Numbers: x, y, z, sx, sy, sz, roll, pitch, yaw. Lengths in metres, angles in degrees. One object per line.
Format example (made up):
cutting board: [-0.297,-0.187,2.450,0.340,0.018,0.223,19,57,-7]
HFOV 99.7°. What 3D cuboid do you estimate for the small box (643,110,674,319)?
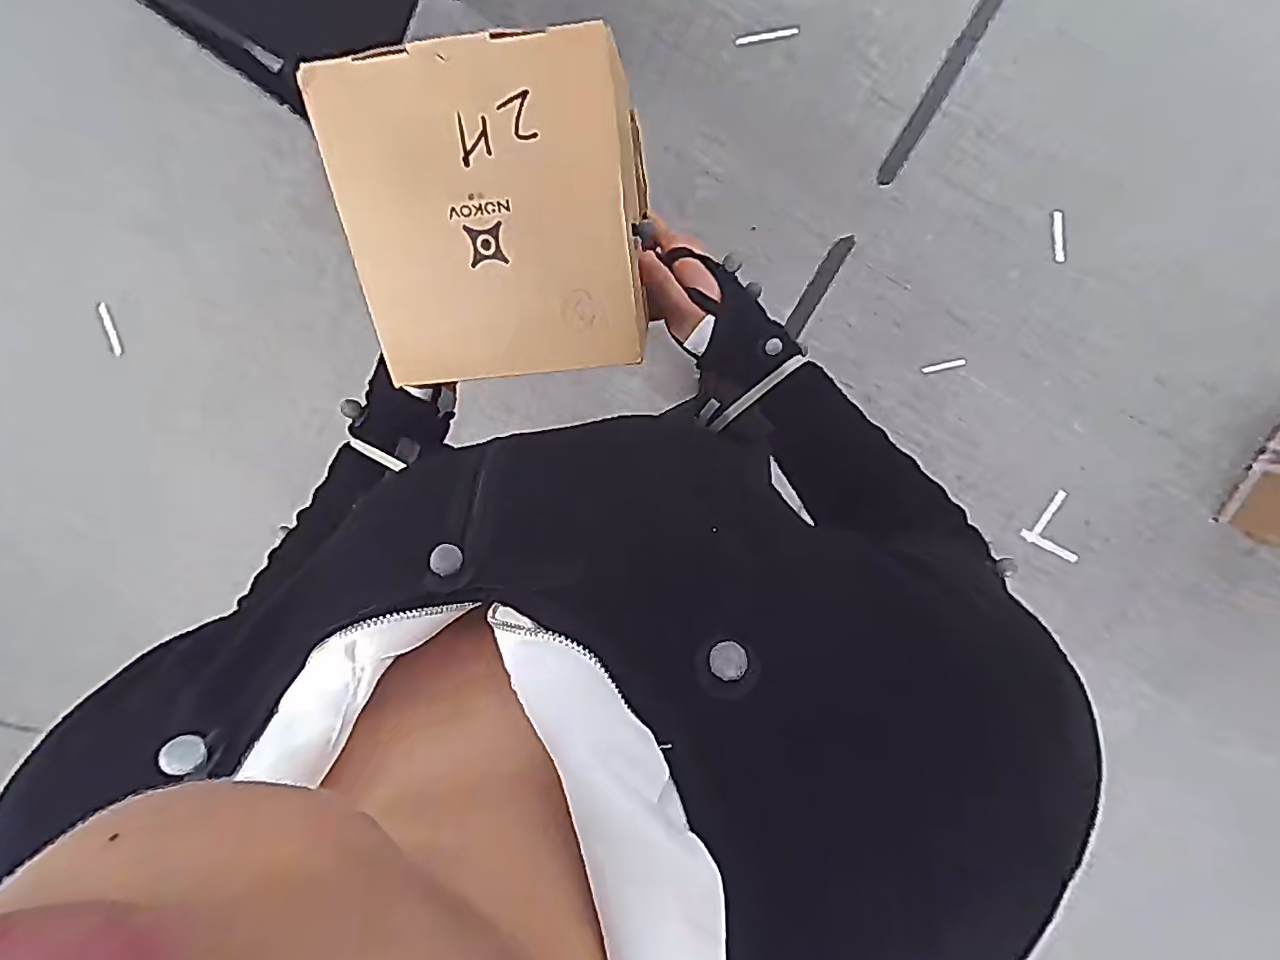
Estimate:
small box: [-0.064,-0.248,0.540,0.179,0.176,0.168,-7,115,6]

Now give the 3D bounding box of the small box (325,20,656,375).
small box: [-0.076,-0.186,0.387,0.168,0.176,0.179,-4,115,4]
